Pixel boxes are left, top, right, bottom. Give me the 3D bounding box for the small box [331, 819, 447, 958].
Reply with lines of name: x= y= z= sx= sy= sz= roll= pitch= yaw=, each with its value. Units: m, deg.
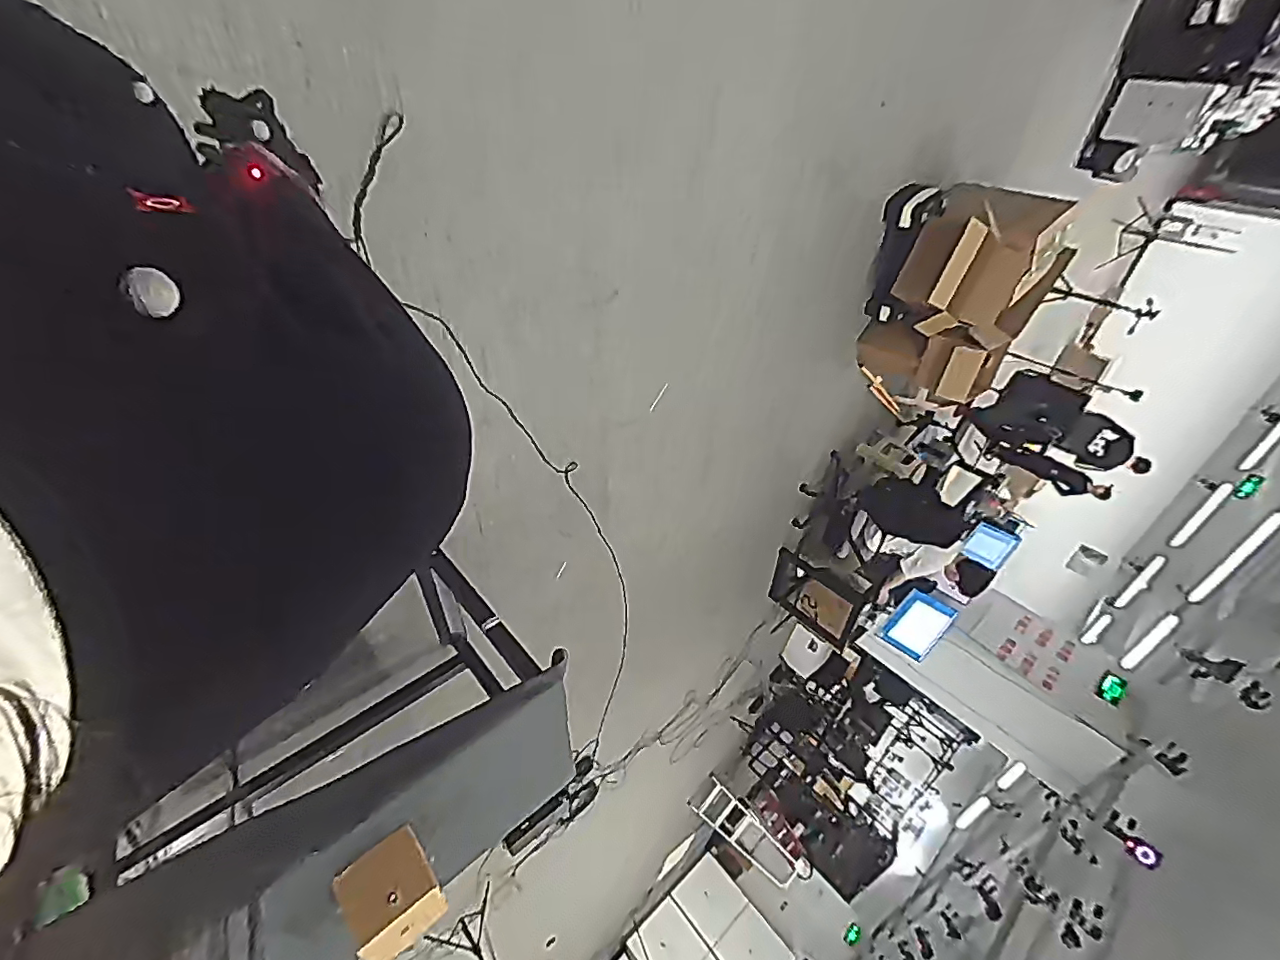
small box: x=-0.577 y=0.933 z=1.248 sx=0.179 sy=0.176 sz=0.168 roll=-27 pitch=137 yaw=-32
